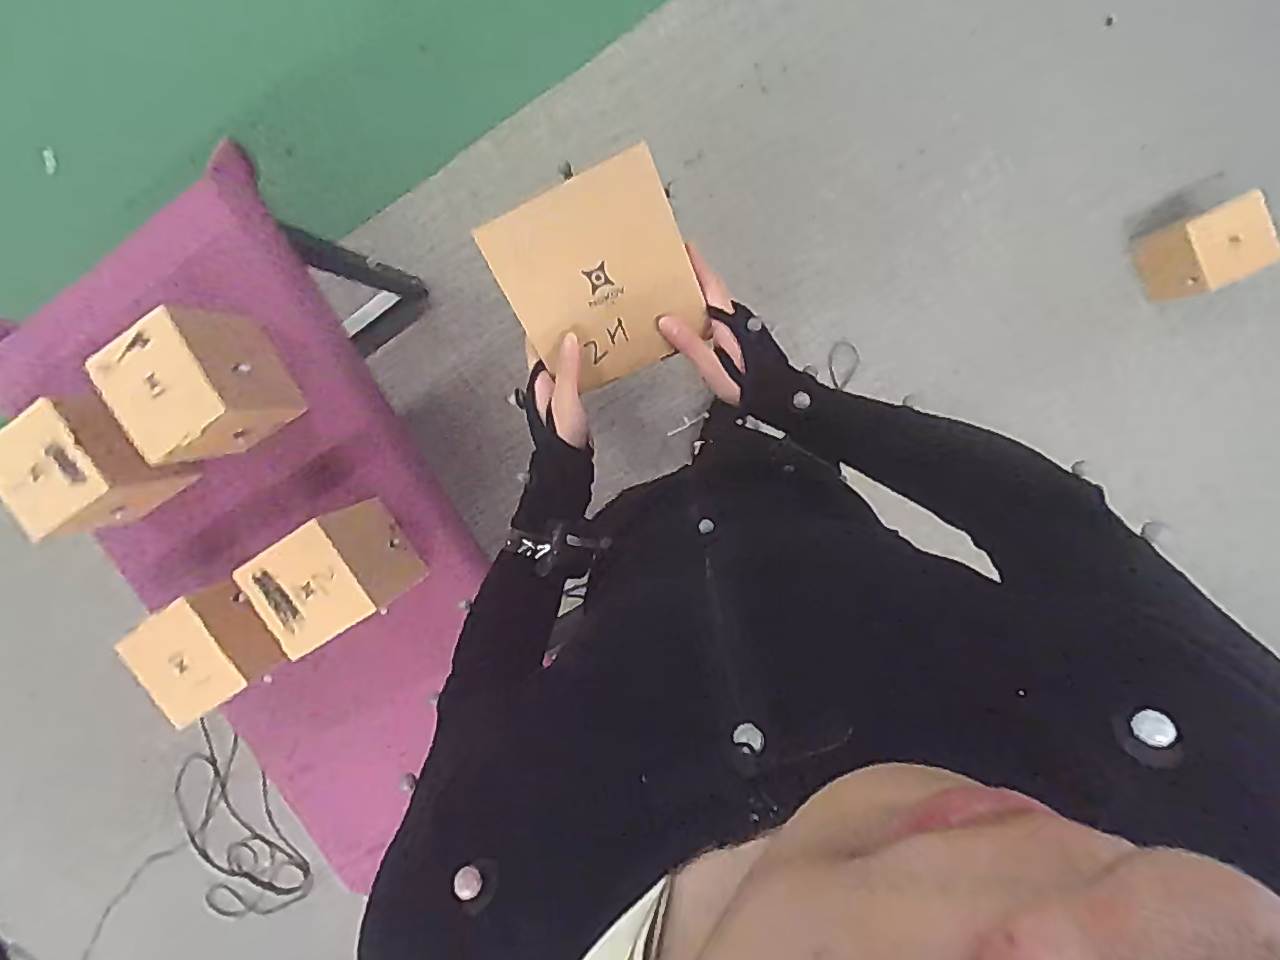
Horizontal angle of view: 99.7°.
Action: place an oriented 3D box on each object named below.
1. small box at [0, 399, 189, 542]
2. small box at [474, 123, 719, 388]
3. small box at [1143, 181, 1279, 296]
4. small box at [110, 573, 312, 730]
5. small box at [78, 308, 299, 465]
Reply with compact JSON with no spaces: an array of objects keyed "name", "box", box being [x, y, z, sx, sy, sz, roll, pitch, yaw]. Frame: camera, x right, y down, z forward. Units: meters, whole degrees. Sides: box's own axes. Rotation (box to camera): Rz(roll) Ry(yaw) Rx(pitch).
[{"name":"small box","box":[-0.910,-0.026,0.899,0.179,0.176,0.168,-30,95,10]},{"name":"small box","box":[-0.035,-0.224,0.540,0.168,0.176,0.179,-20,121,11]},{"name":"small box","box":[1.382,-0.571,1.304,0.168,0.176,0.179,-27,96,10]},{"name":"small box","box":[-0.724,0.280,0.931,0.168,0.176,0.179,-32,95,10]},{"name":"small box","box":[-0.695,-0.147,0.856,0.168,0.176,0.179,-28,96,10]}]
